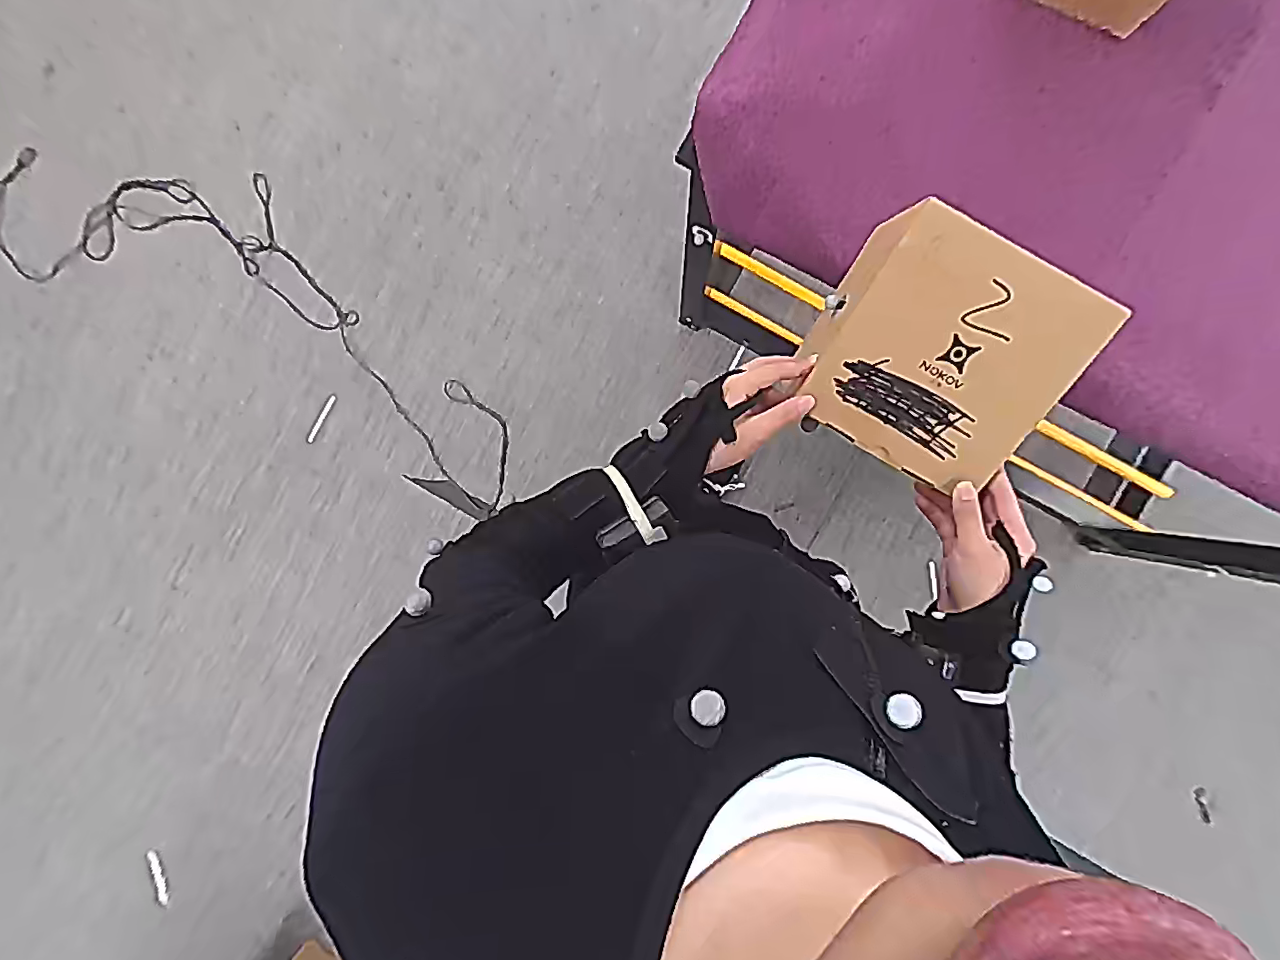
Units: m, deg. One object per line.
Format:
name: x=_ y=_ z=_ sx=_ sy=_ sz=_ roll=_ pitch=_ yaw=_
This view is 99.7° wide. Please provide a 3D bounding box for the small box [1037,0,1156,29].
small box: x=0.507 y=-0.612 z=0.540 sx=0.179 sy=0.176 sz=0.168 roll=26 pitch=92 yaw=1
